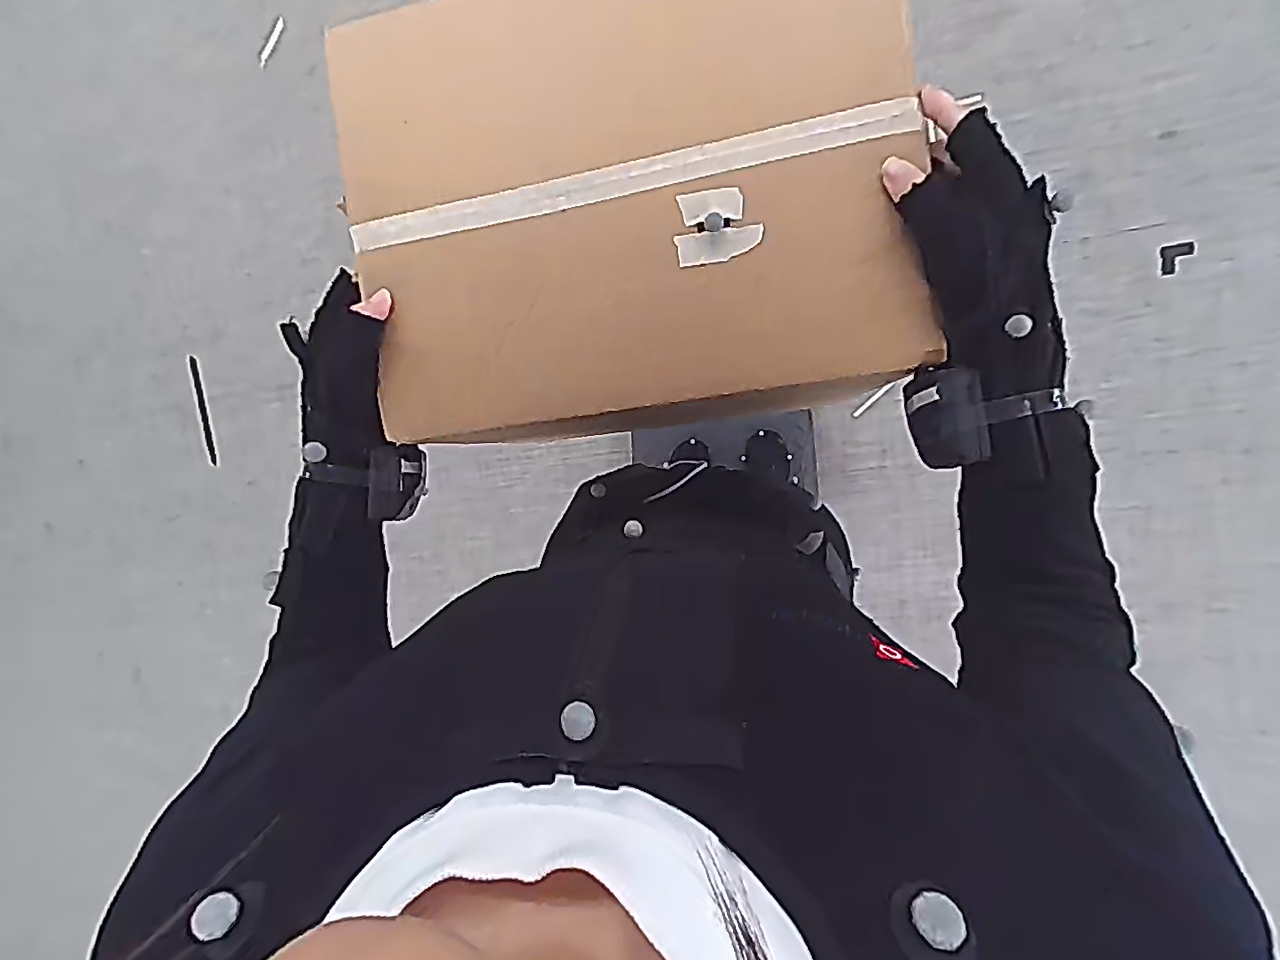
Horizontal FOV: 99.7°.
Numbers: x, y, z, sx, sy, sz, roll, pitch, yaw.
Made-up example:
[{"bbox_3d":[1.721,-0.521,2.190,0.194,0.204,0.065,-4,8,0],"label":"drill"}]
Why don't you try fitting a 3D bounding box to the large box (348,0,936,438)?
[{"bbox_3d":[0.008,-0.224,0.537,0.408,0.320,0.320,-7,93,9],"label":"large box"}]
